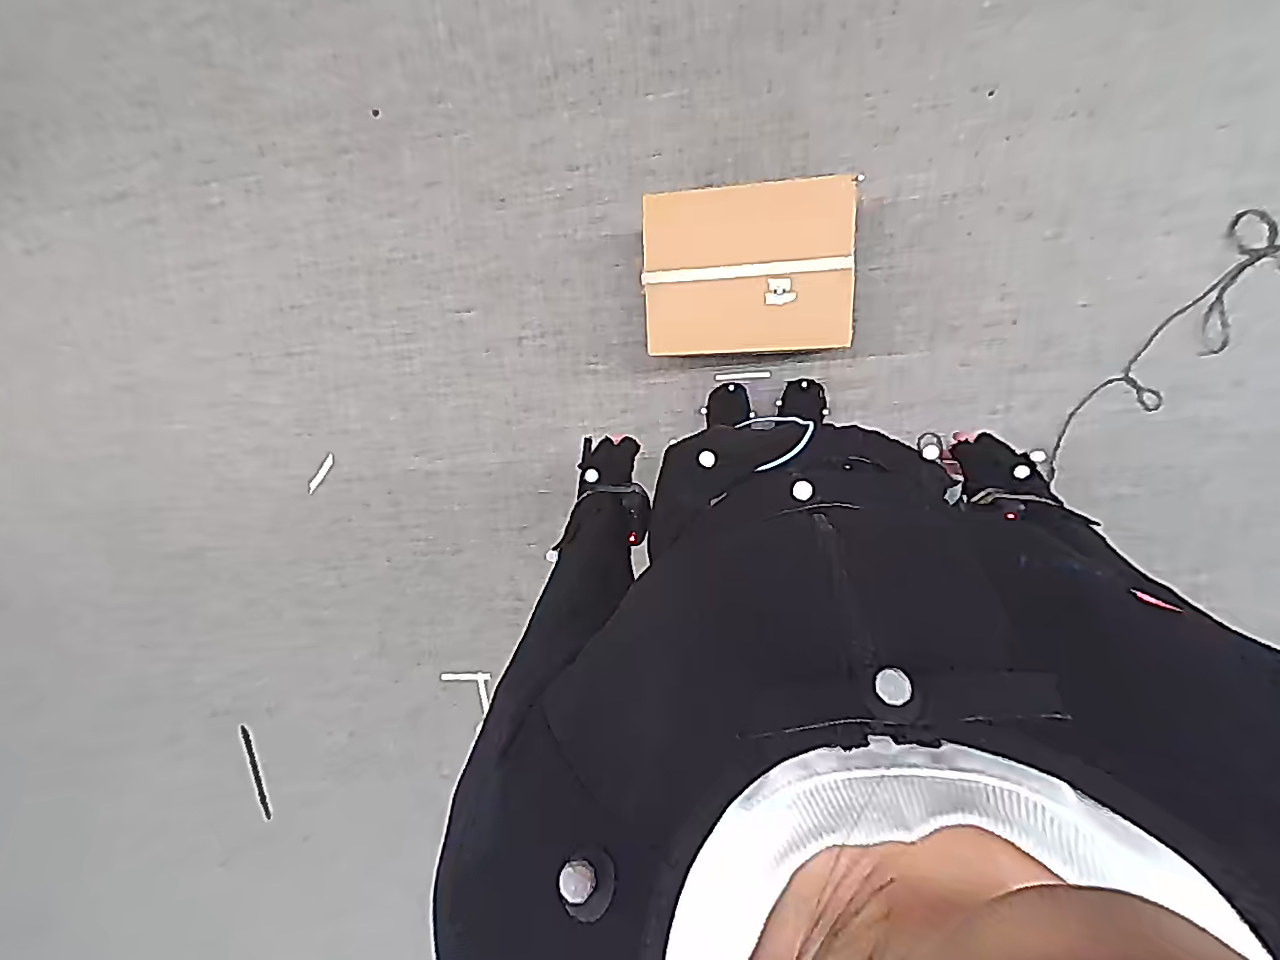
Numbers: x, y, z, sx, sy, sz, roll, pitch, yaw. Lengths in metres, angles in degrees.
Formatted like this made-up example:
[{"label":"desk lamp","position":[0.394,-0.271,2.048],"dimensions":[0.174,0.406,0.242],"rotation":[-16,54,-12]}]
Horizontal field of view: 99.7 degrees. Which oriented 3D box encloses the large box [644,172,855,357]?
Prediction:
[{"label":"large box","position":[0.236,-0.447,1.207],"dimensions":[0.408,0.320,0.320],"rotation":[0,103,10]}]
